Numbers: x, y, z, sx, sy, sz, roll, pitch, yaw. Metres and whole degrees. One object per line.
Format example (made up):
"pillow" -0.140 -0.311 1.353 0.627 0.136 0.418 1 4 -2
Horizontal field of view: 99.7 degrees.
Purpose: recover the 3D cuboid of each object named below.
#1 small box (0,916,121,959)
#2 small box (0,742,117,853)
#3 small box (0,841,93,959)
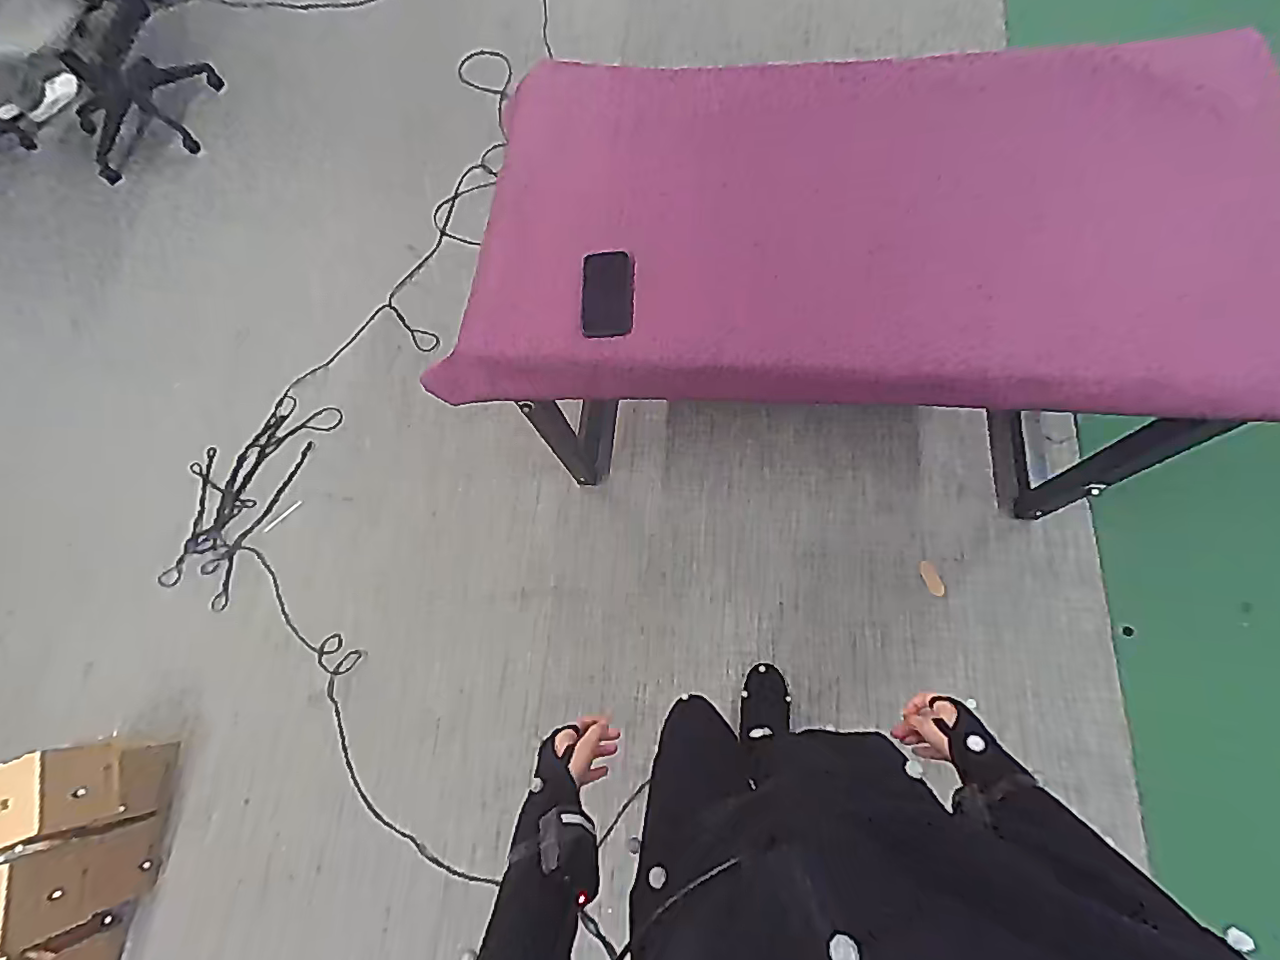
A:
"small box" -1.353 1.137 1.232 0.168 0.176 0.179 2 72 9
"small box" -1.318 0.703 1.200 0.179 0.176 0.168 -22 70 1
"small box" -1.322 0.891 1.139 0.179 0.176 0.168 -14 70 4
